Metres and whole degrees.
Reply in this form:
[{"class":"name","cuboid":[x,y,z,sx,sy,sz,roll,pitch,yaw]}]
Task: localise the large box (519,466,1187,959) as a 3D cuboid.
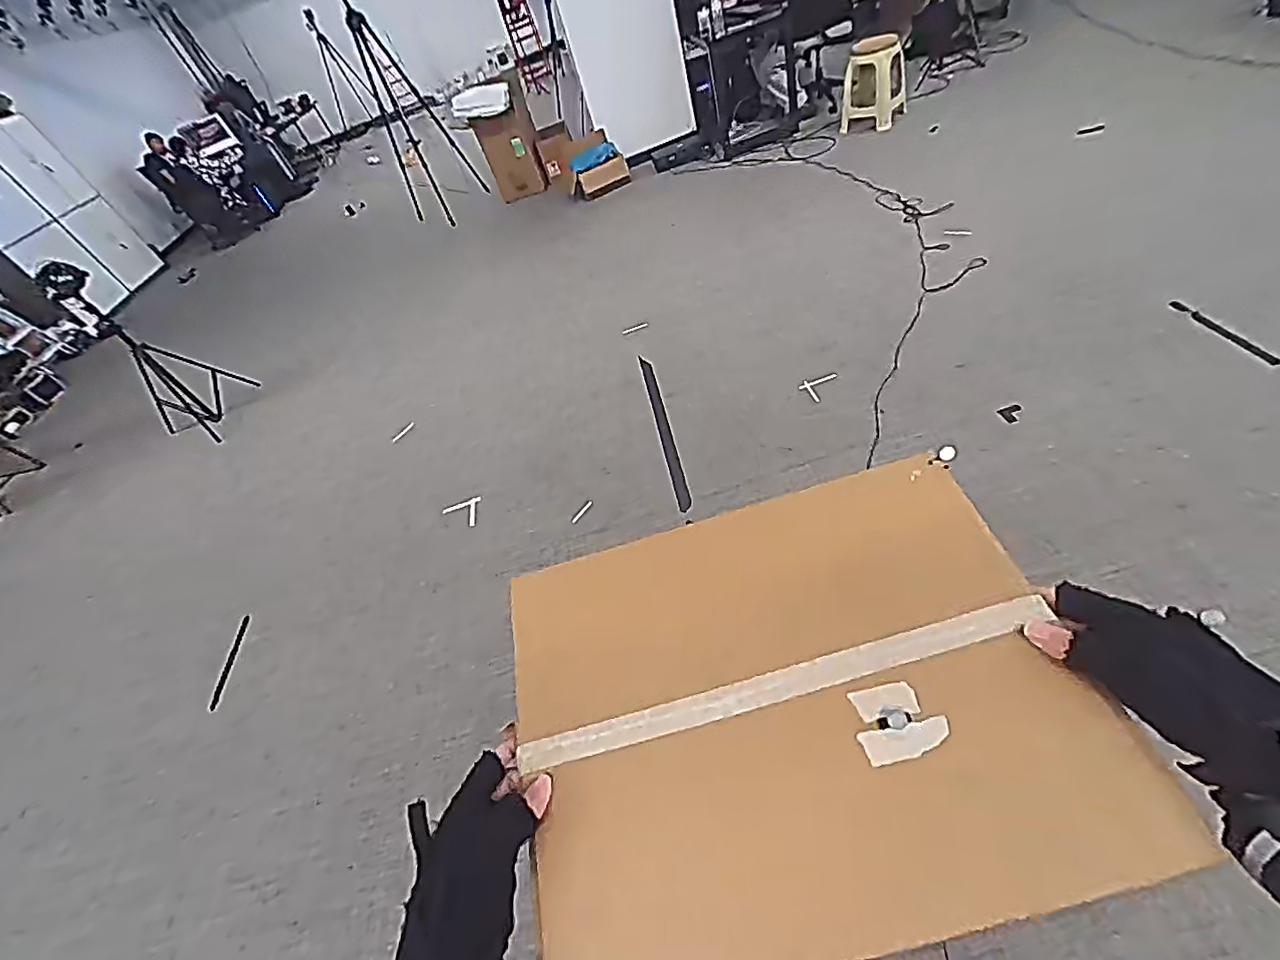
[{"class":"large box","cuboid":[0.136,0.248,0.534,0.408,0.320,0.320,-18,53,2]}]
